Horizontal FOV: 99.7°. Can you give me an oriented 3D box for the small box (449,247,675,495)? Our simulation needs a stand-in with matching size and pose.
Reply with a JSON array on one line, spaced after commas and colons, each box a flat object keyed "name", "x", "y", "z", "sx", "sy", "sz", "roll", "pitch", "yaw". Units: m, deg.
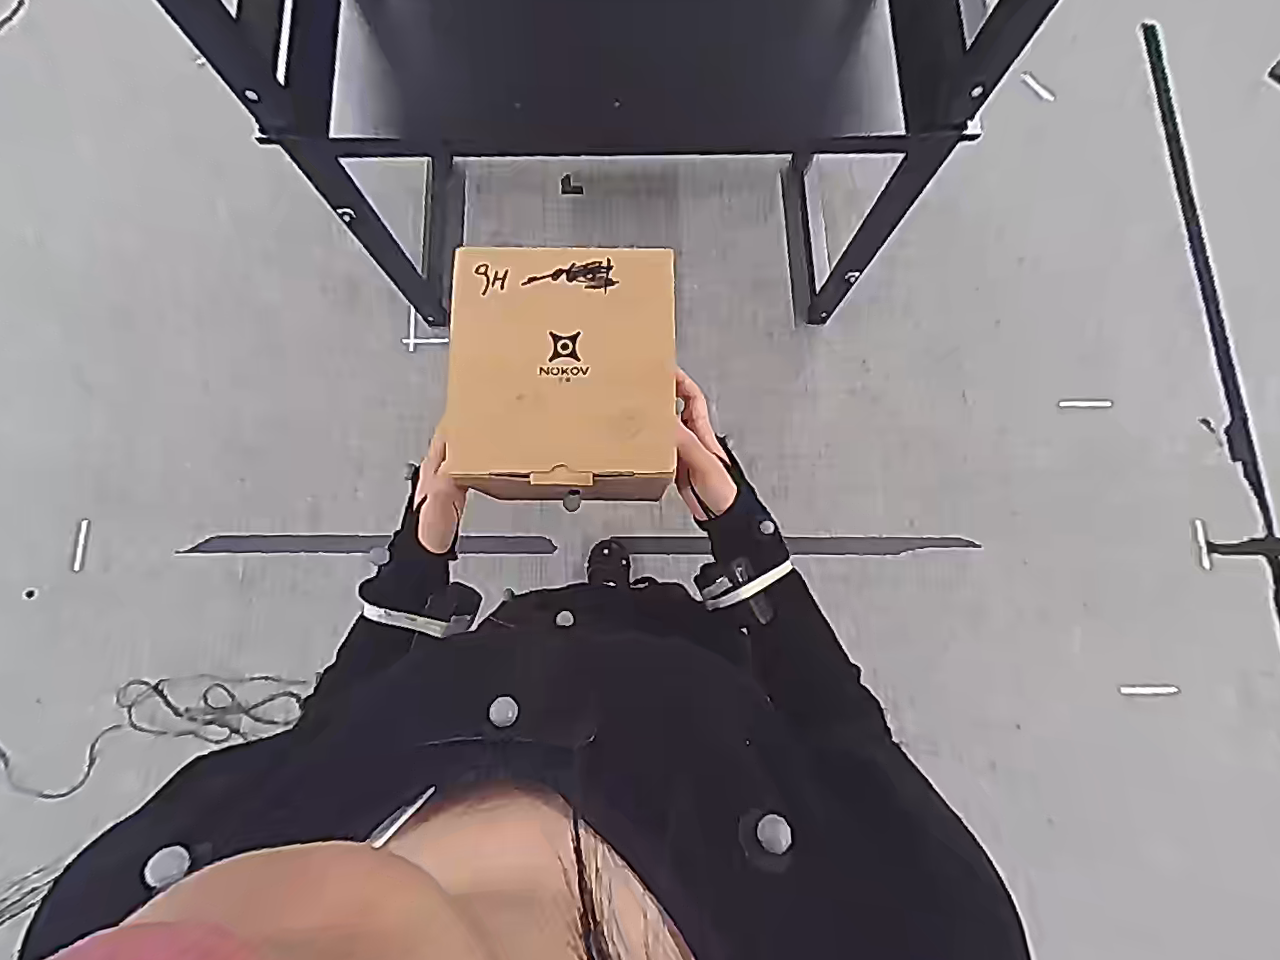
[{"name": "small box", "x": -0.059, "y": -0.079, "z": 0.478, "sx": 0.168, "sy": 0.176, "sz": 0.179, "roll": 0, "pitch": 83, "yaw": -3}]
